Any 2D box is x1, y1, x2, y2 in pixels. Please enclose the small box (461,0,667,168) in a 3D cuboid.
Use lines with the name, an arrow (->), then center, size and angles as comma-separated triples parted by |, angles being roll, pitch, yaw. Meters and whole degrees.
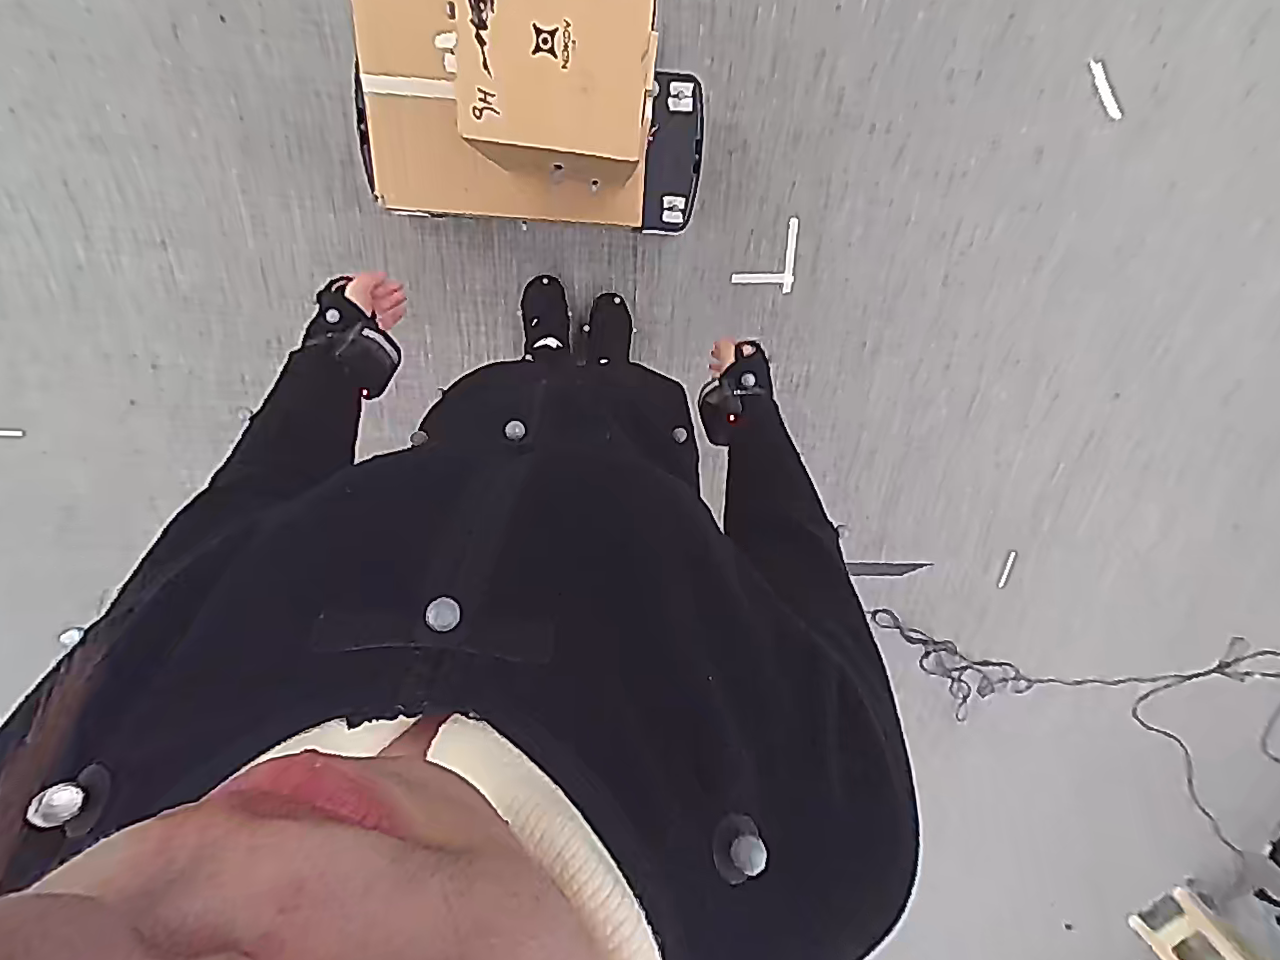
small box -> -0.074, -0.423, 0.543 | 0.179, 0.176, 0.168 | 4, 113, -7

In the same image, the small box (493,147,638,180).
small box -> -0.085, -0.492, 0.691 | 0.179, 0.176, 0.168 | 6, 114, -6

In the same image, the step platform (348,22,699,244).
step platform -> -0.222, -0.694, 1.120 | 0.684, 0.204, 0.286 | 7, 114, -7

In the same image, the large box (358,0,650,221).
large box -> -0.187, -0.610, 0.899 | 0.408, 0.320, 0.320 | 2, 113, -4
